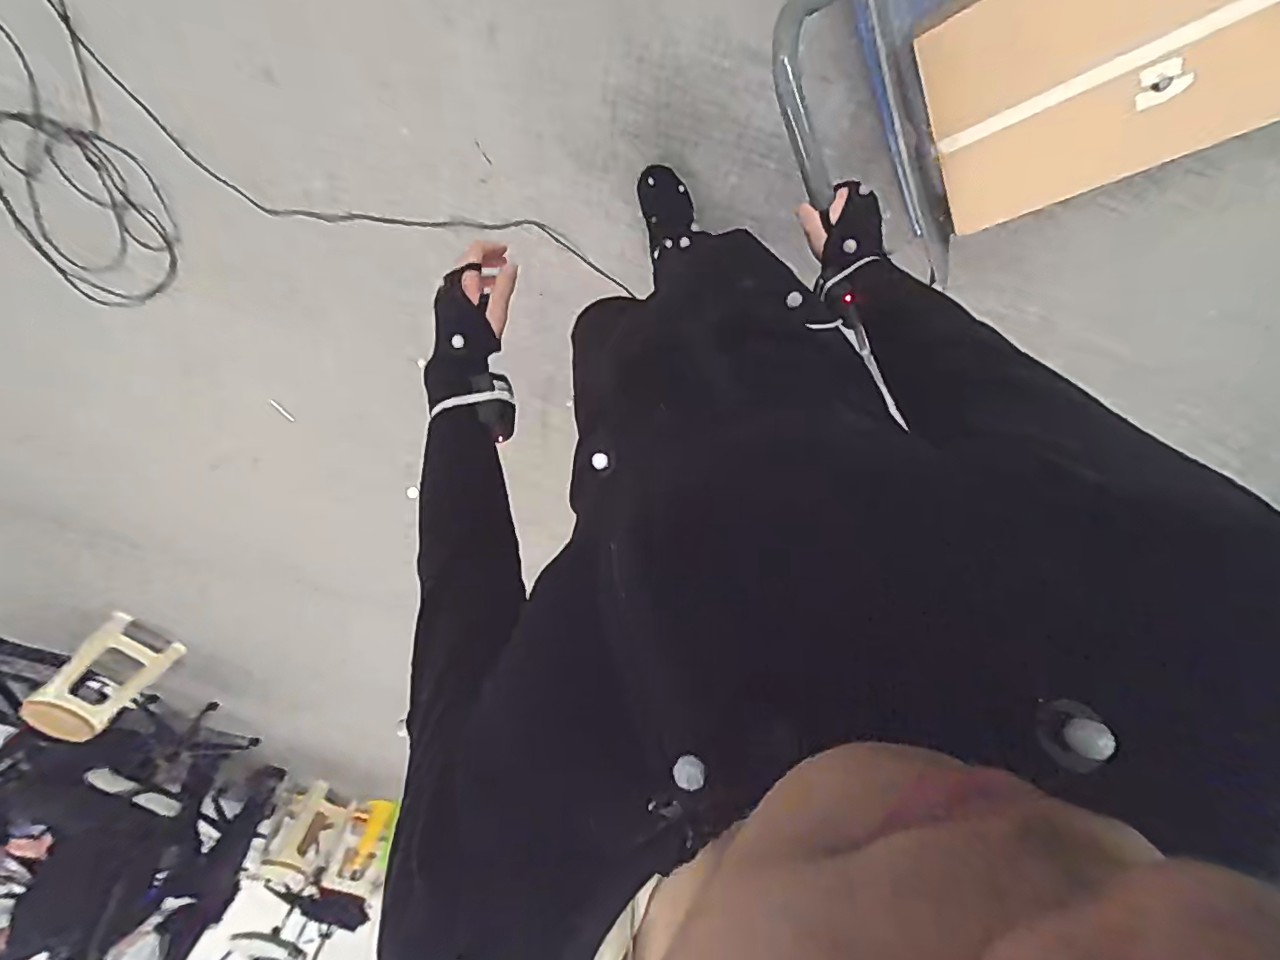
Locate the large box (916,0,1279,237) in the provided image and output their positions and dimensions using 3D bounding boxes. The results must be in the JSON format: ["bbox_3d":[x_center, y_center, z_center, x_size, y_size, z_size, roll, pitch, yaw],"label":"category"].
[{"bbox_3d":[0.694,-0.659,0.857,0.408,0.320,0.320,-12,124,34],"label":"large box"}]
